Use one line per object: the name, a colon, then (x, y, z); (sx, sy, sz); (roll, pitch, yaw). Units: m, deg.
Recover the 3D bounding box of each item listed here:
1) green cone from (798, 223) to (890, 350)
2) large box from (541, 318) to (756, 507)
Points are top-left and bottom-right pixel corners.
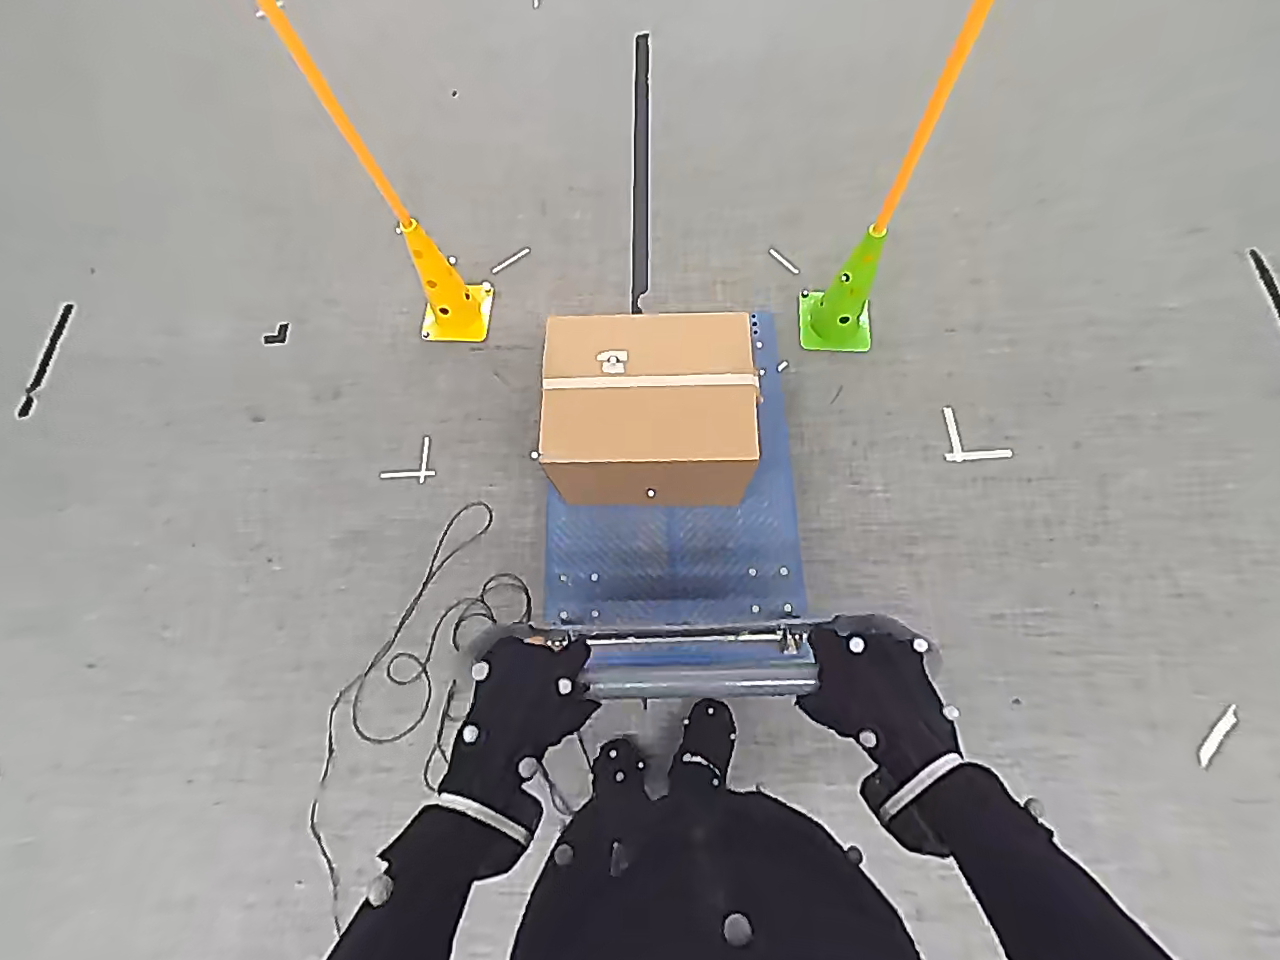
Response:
green cone: (0.565, -0.526, 1.433); (0.202, 0.368, 0.200); (3, 72, 3)
large box: (0.023, -0.126, 1.174); (0.408, 0.320, 0.320); (-1, 72, 3)
